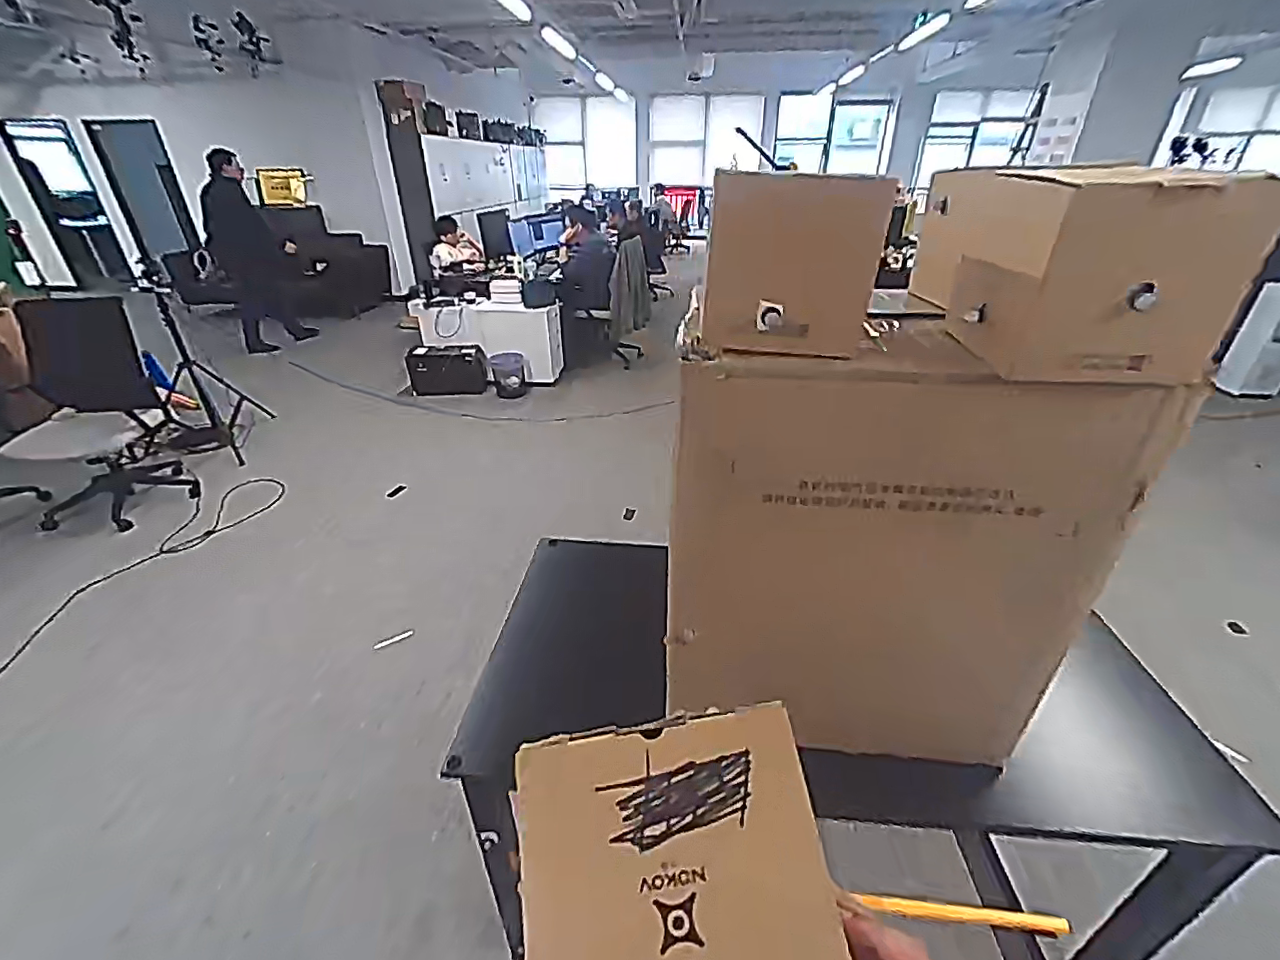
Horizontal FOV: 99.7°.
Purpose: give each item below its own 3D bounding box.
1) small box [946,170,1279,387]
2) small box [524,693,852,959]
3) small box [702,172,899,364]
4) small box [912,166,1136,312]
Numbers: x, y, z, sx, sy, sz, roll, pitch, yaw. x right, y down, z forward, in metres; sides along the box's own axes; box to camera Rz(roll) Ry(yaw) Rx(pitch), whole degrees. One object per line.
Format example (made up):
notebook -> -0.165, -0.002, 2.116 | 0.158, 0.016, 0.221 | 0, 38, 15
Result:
small box -> 0.433, -0.198, 0.529 | 0.168, 0.176, 0.179 | 2, 33, 6
small box -> 0.023, 0.255, 0.359 | 0.168, 0.176, 0.179 | -9, 62, -2
small box -> 0.157, -0.239, 0.598 | 0.168, 0.176, 0.179 | 4, 31, 4
small box -> 0.490, -0.319, 0.727 | 0.168, 0.176, 0.179 | 1, 27, 6
